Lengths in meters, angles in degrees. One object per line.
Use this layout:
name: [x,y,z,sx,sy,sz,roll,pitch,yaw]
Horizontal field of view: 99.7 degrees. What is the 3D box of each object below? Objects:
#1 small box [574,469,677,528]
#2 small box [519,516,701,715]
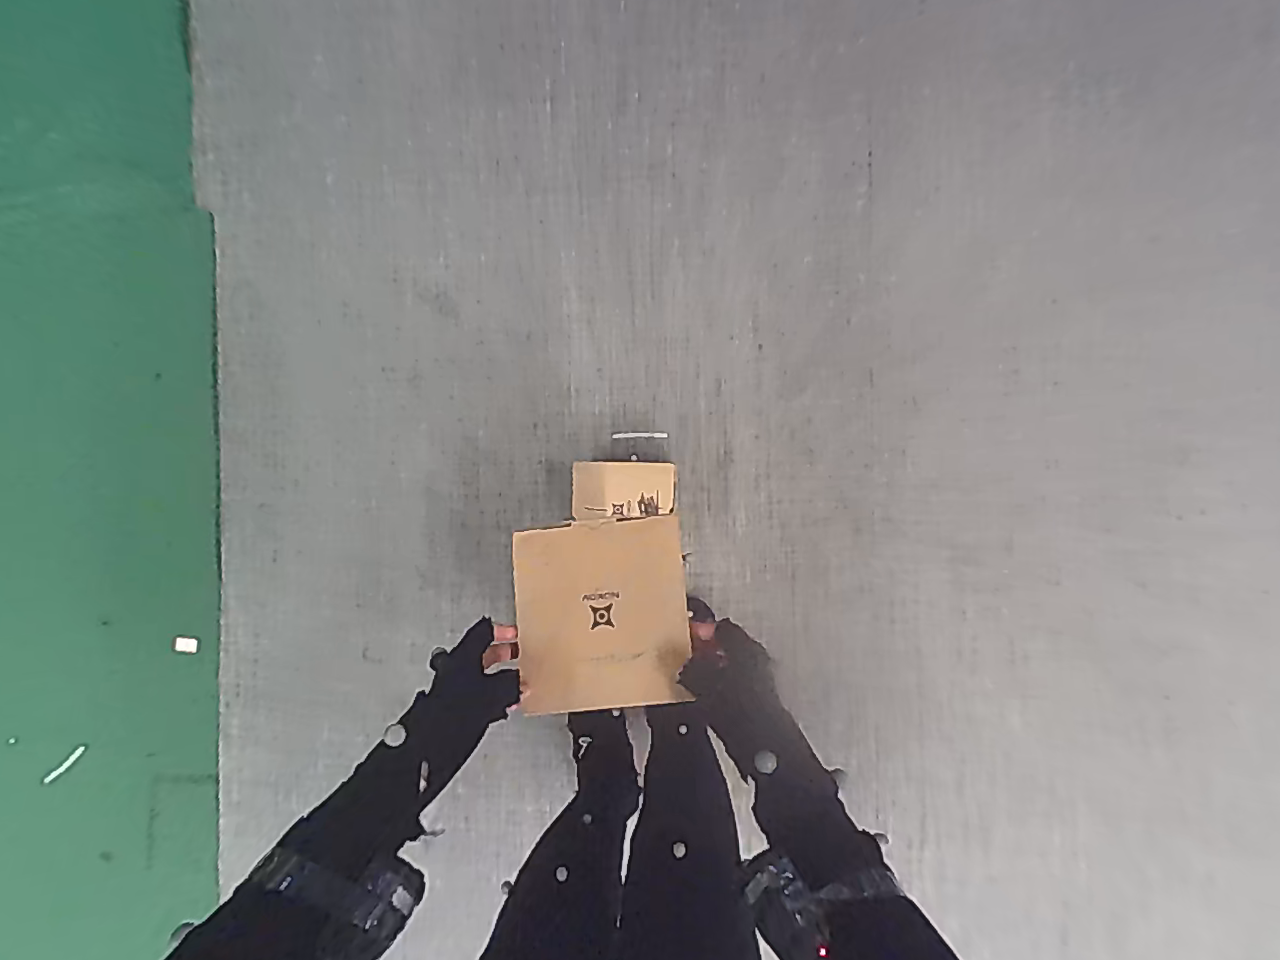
small box: [-0.021,0.064,0.999,0.179,0.176,0.168,1,89,4]
small box: [-0.028,0.144,0.605,0.168,0.176,0.179,-8,80,3]
